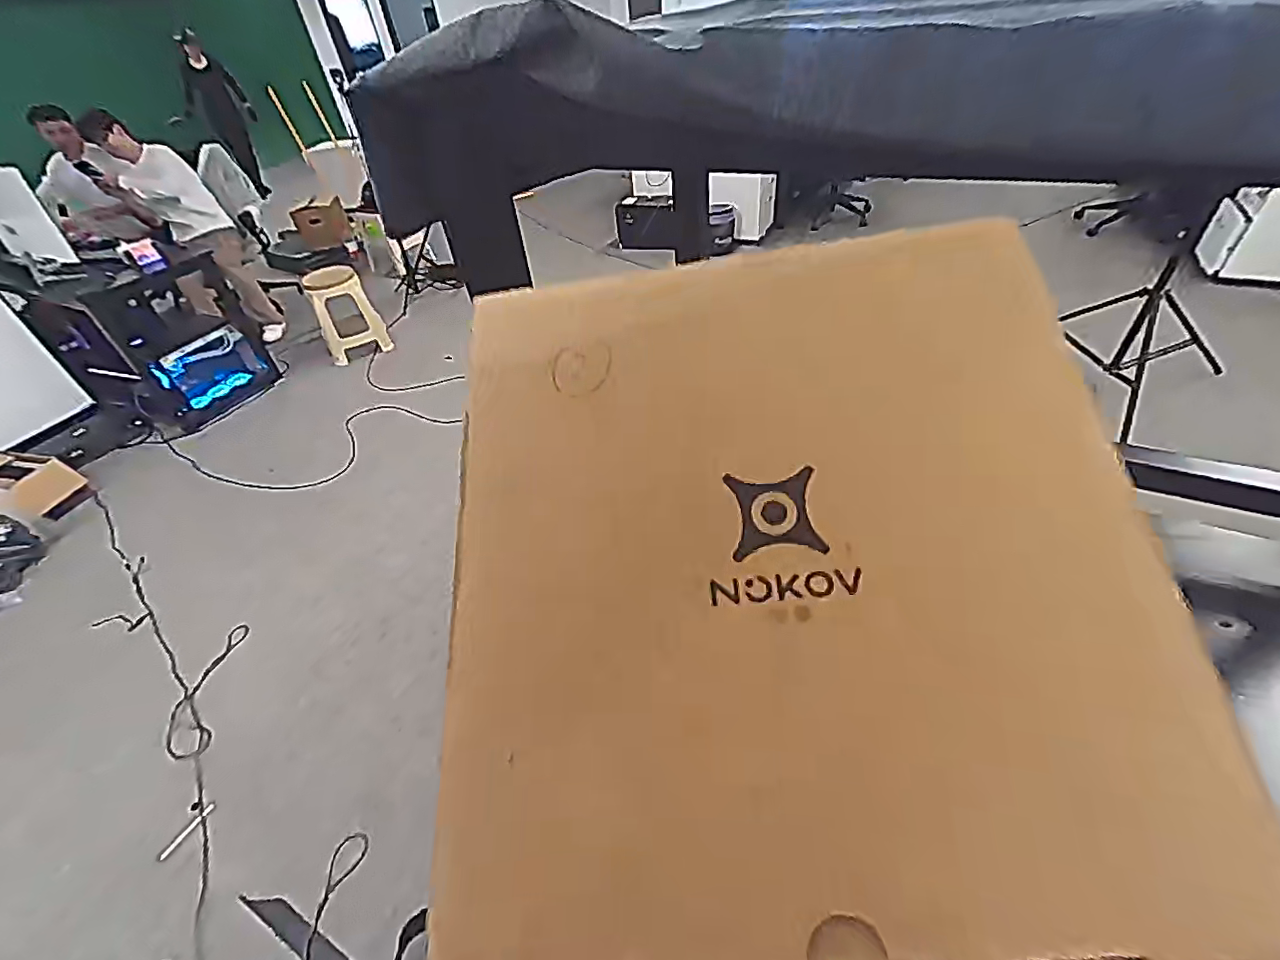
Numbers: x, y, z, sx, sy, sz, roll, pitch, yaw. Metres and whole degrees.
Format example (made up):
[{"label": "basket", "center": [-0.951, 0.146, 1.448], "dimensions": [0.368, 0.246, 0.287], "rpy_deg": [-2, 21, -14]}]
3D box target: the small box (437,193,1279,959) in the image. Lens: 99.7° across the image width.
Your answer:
[{"label": "small box", "center": [0.046, 0.036, 0.202], "dimensions": [0.168, 0.176, 0.179], "rpy_deg": [-7, 68, 5]}]
